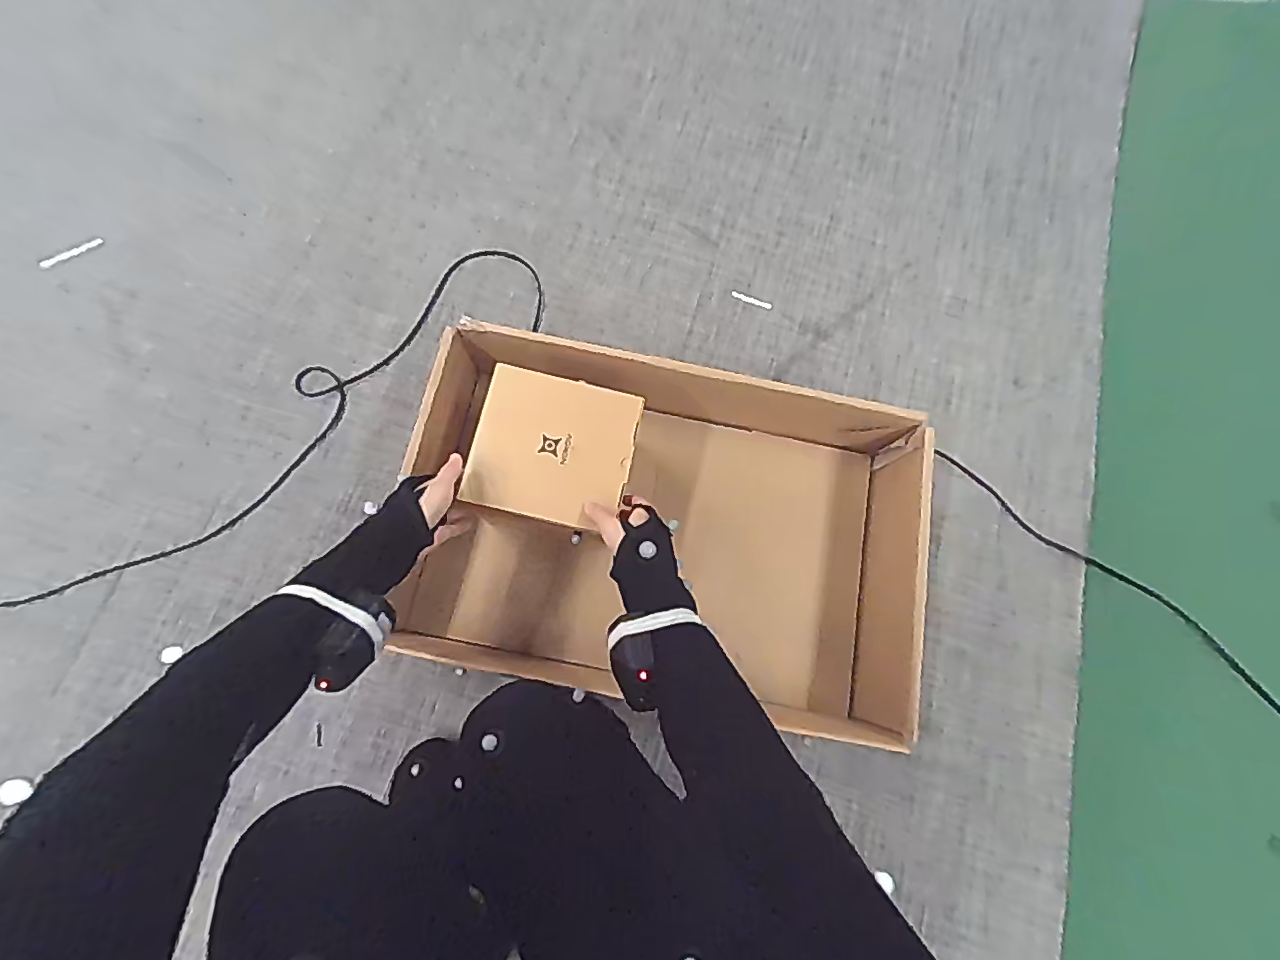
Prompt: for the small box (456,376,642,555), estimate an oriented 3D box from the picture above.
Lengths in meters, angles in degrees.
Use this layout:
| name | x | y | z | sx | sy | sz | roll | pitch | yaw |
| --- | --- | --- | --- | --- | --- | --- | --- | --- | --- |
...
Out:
| name | x | y | z | sx | sy | sz | roll | pitch | yaw |
| --- | --- | --- | --- | --- | --- | --- | --- | --- | --- |
| small box | -0.106 | -0.006 | 0.681 | 0.179 | 0.176 | 0.168 | 13 | 76 | -2 |
